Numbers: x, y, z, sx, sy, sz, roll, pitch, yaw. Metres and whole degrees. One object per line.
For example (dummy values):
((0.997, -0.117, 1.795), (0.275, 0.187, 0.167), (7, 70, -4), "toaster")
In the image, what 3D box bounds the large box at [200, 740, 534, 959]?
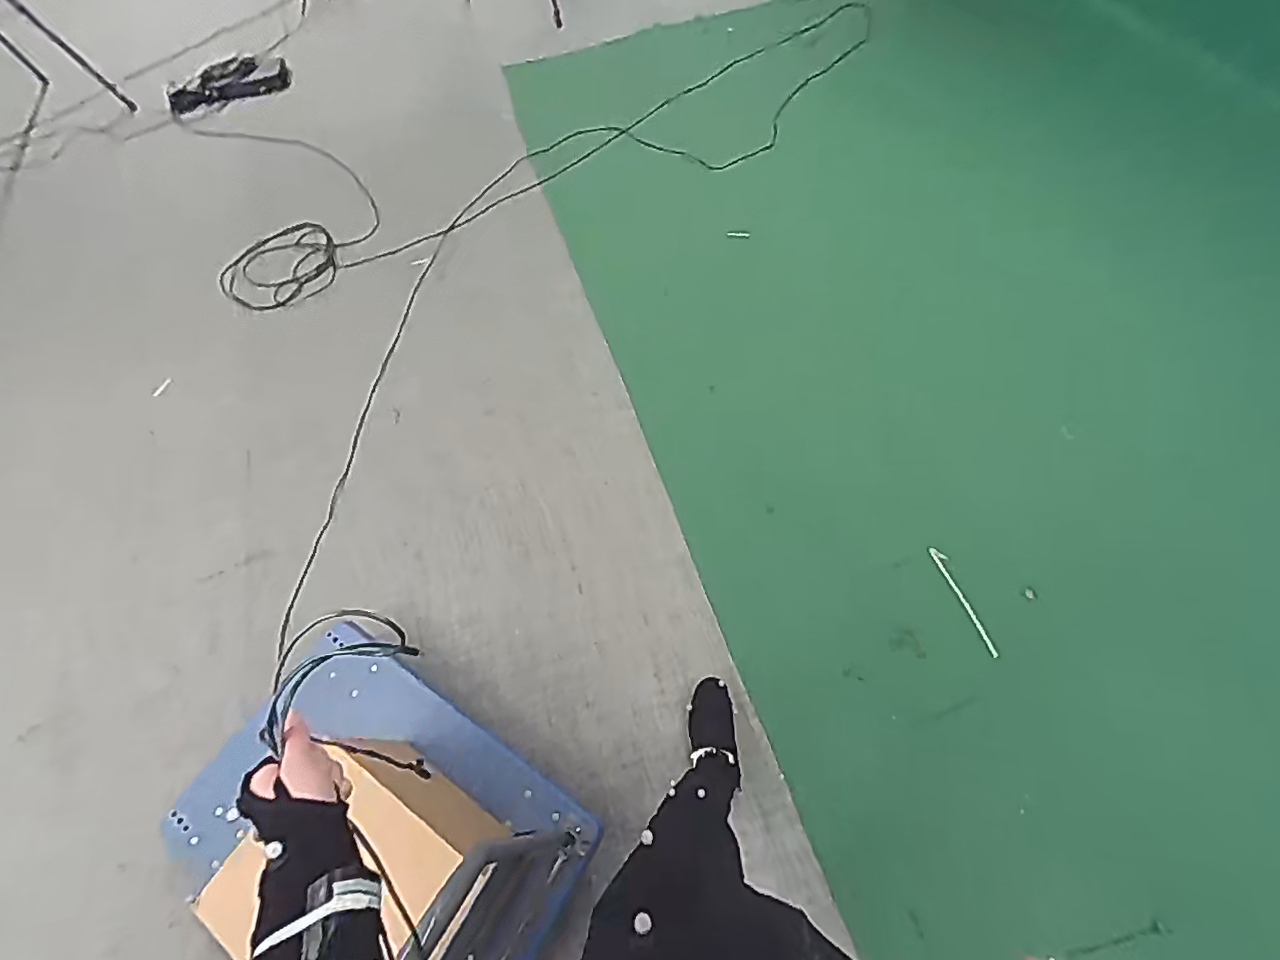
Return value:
((-0.478, 0.752, 1.026), (0.408, 0.320, 0.320), (27, 68, 19), "large box")
